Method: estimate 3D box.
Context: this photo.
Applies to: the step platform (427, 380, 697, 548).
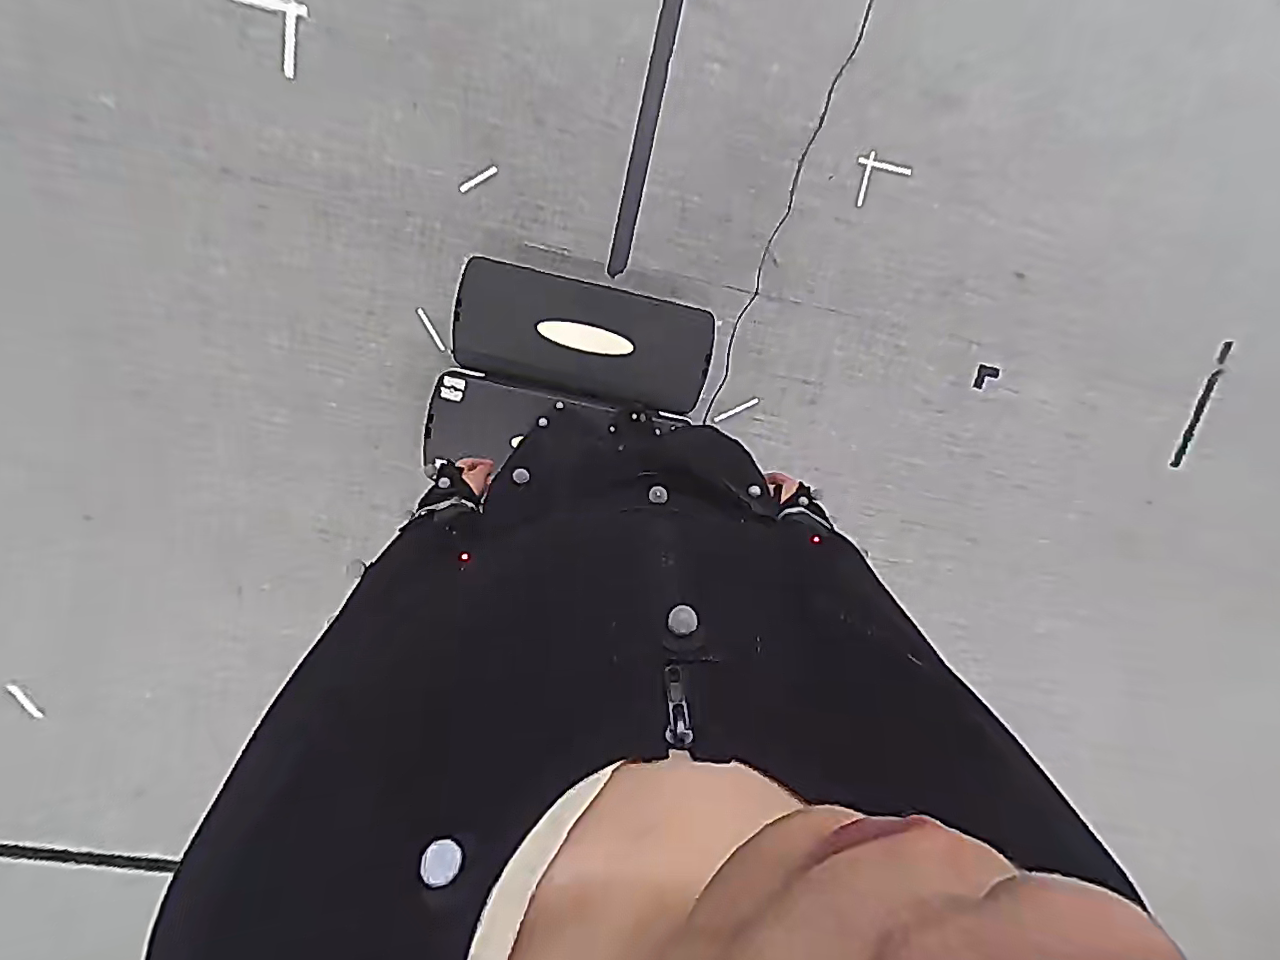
[{"bbox_3d":[-0.195,-0.041,1.439,0.684,0.204,0.286,16,98,-6],"label":"step platform"}]
